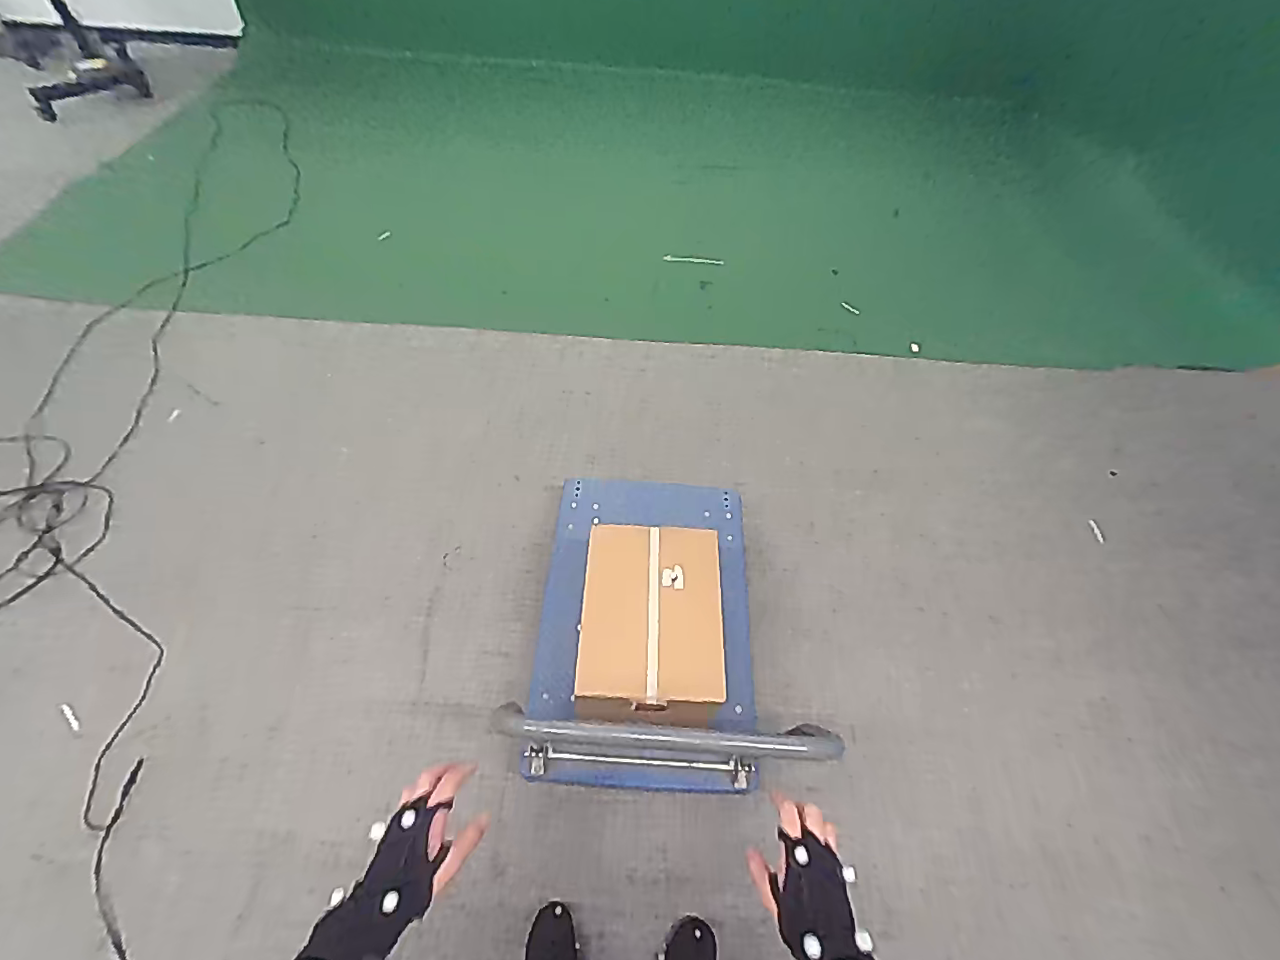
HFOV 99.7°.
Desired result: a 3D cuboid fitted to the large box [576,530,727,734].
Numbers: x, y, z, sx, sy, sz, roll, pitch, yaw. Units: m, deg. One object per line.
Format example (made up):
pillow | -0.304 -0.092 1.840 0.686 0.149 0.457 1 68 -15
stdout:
large box | 0.022 0.377 1.325 0.320 0.320 0.408 3 53 -2
